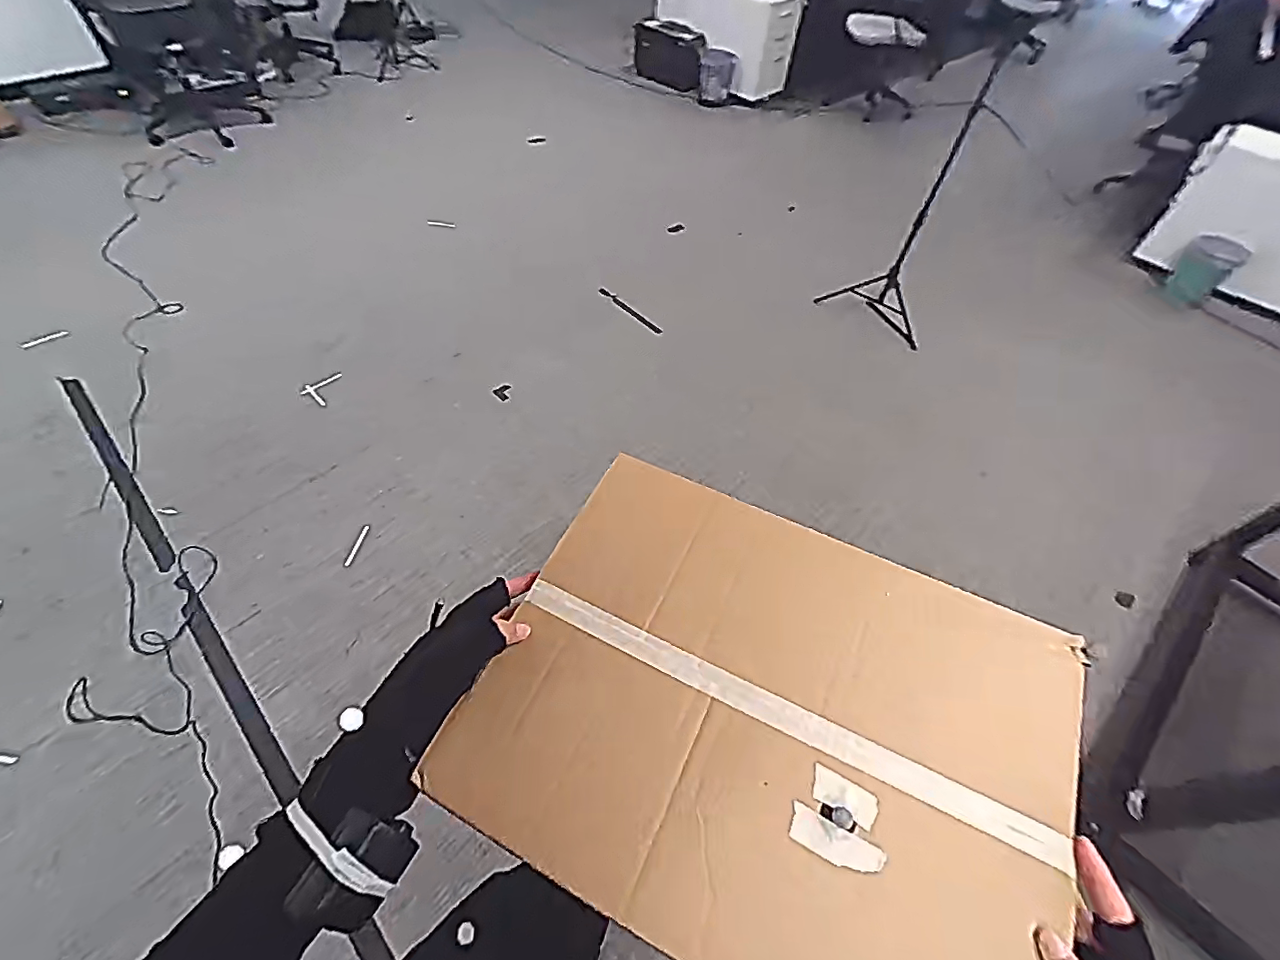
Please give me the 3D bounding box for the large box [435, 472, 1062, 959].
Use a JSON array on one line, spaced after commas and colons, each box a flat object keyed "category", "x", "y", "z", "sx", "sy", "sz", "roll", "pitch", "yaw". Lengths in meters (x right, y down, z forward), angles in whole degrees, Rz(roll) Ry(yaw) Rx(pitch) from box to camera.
[{"category": "large box", "x": 0.095, "y": 0.256, "z": 0.532, "sx": 0.408, "sy": 0.320, "sz": 0.320, "roll": 23, "pitch": 60, "yaw": 15}]
